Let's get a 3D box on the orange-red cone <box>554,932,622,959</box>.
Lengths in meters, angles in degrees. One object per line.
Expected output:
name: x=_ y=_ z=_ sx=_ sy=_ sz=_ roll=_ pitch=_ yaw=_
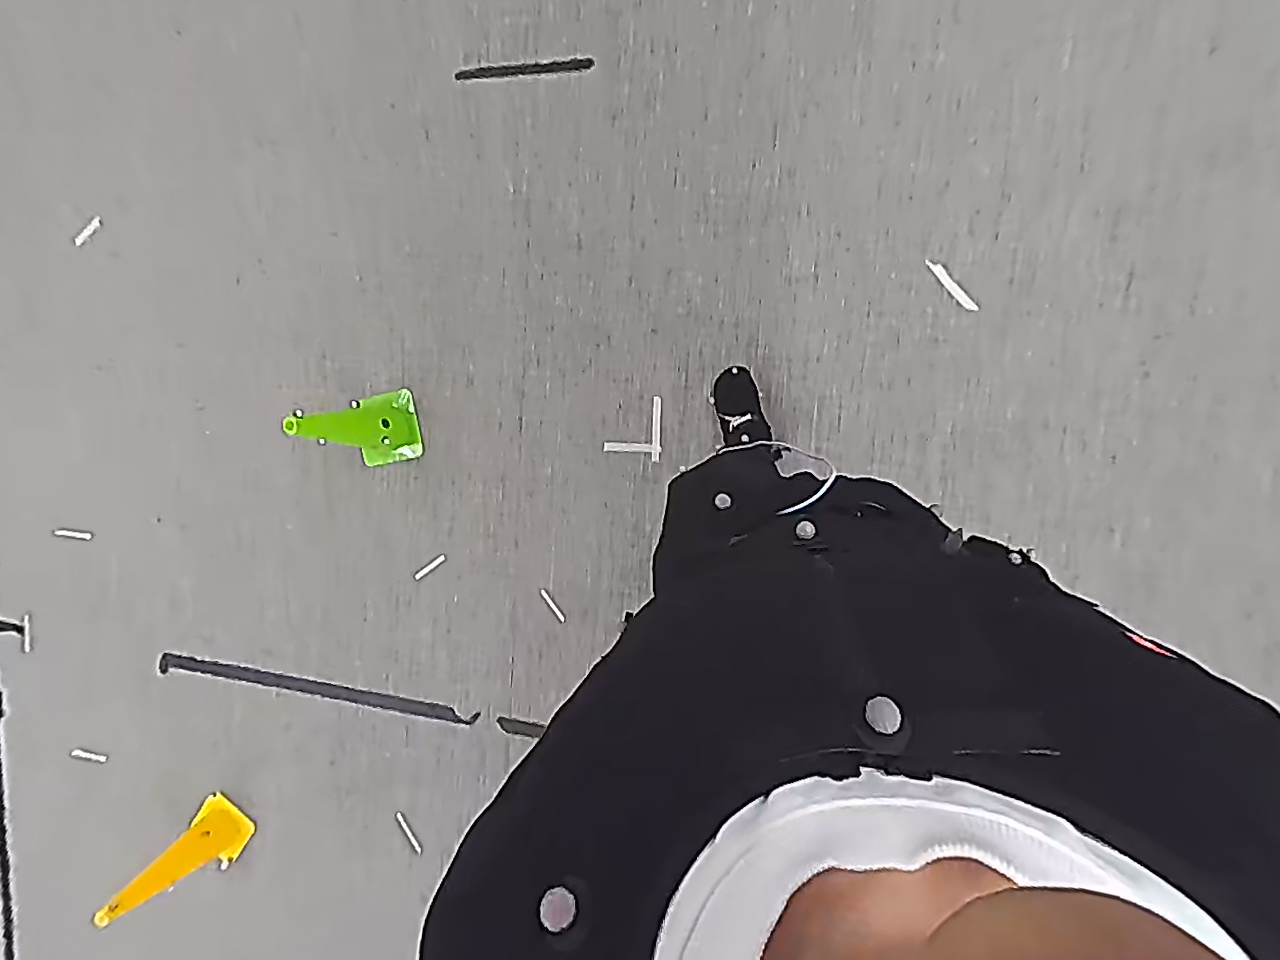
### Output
orange-red cone: x=-0.196 y=1.456 z=1.424 sx=0.199 sy=0.360 sz=0.198 roll=13 pitch=96 yaw=11

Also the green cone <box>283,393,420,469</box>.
green cone: x=-0.782 y=-0.128 z=1.423 sx=0.202 sy=0.368 sz=0.200 roll=-11 pitch=92 yaw=11
